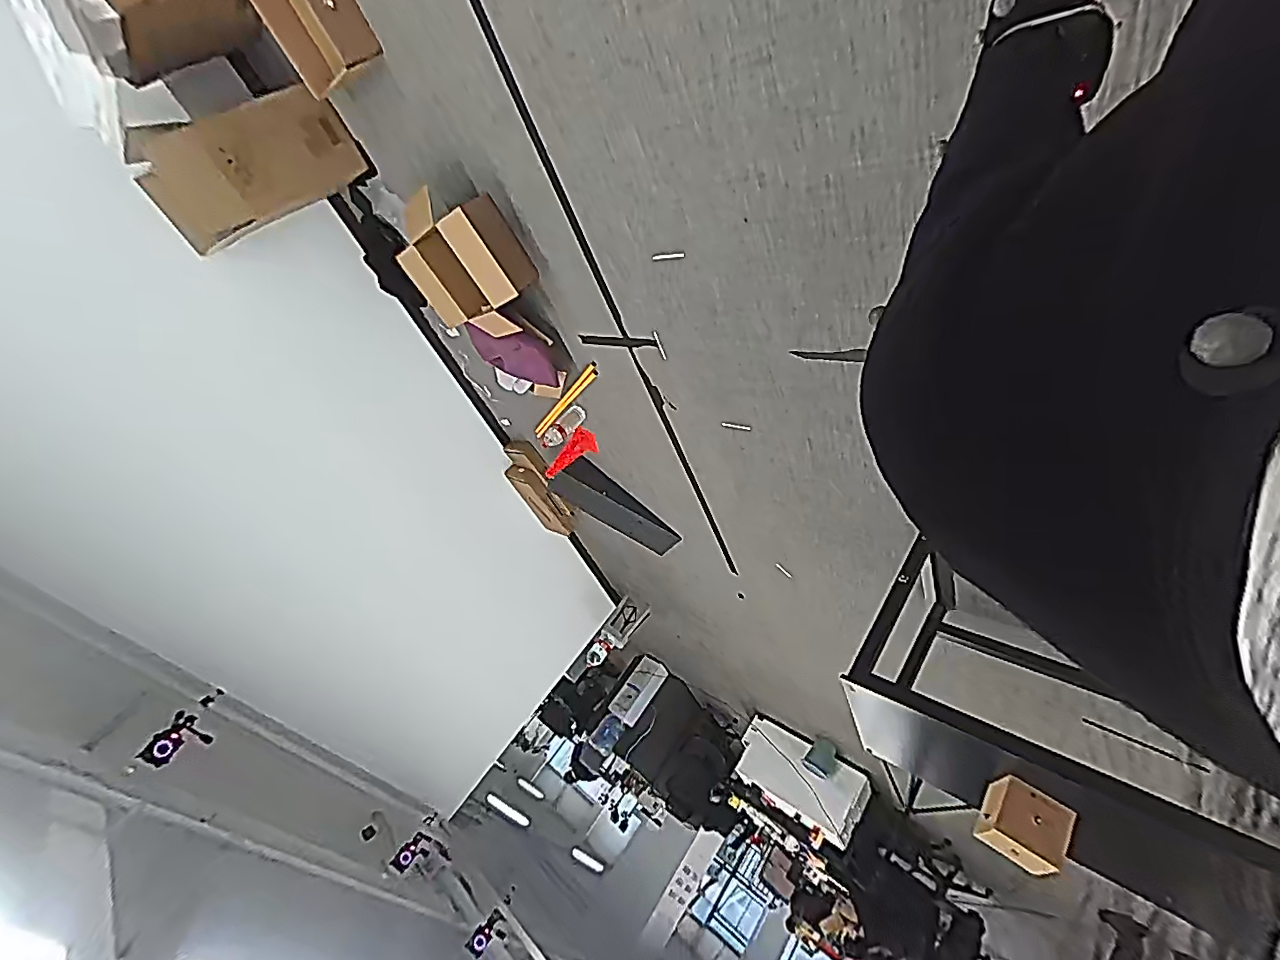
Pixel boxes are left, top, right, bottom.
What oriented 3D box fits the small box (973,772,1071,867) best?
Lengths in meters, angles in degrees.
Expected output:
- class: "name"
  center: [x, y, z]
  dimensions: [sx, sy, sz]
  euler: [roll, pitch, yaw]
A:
- class: "small box"
  center: [1.104, 0.975, 1.562]
  dimensions: [0.168, 0.176, 0.179]
  euler: [27, 152, 27]
